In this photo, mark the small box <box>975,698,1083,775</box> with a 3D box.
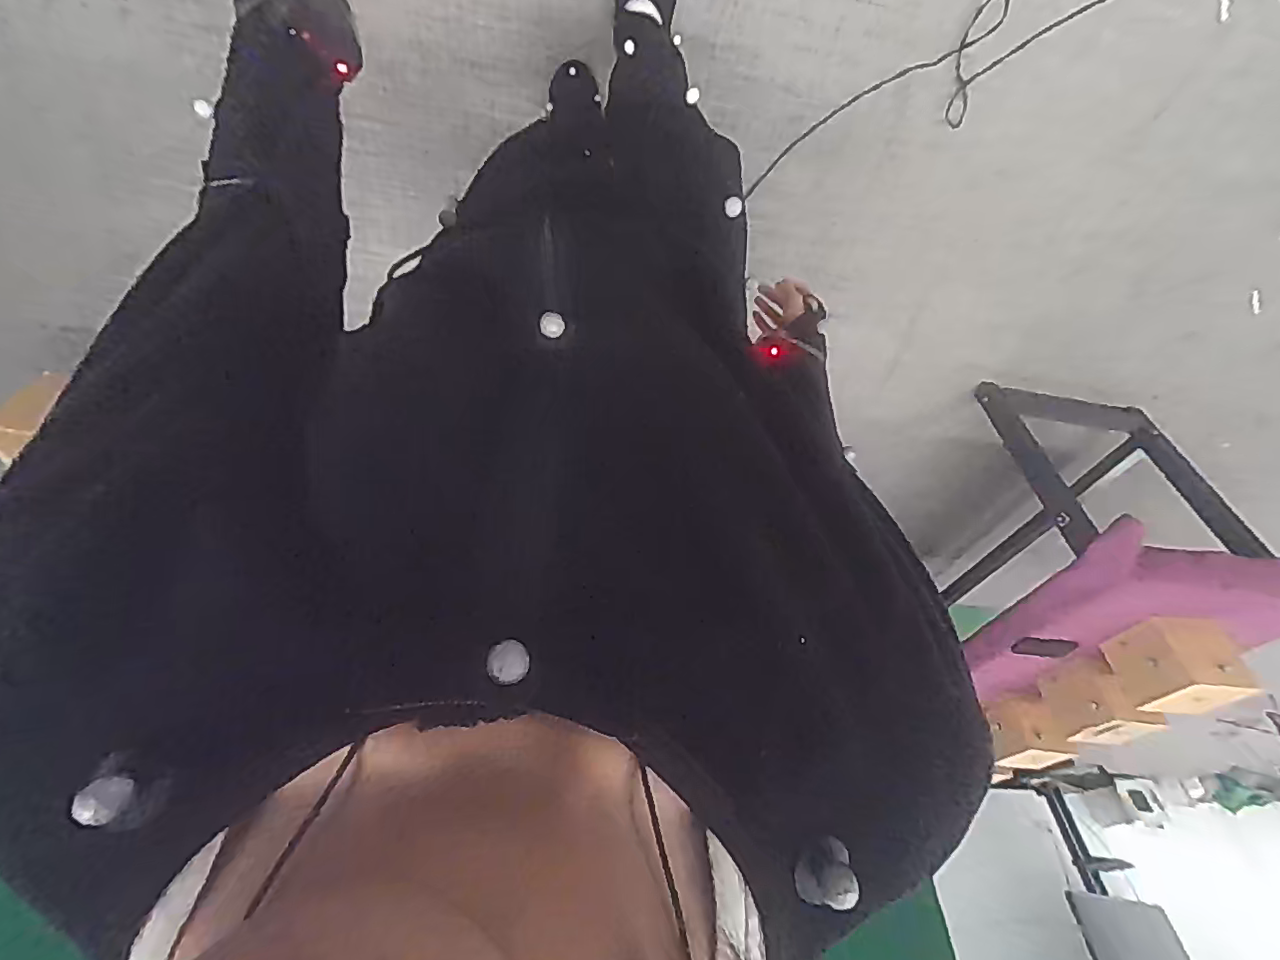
[{"bbox_3d":[1.171,0.778,1.645,0.179,0.176,0.168,10,137,-11],"label":"small box"}]

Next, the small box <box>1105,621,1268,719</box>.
[{"bbox_3d":[1.276,0.448,1.283,0.179,0.176,0.168,6,137,-6],"label":"small box"}]
